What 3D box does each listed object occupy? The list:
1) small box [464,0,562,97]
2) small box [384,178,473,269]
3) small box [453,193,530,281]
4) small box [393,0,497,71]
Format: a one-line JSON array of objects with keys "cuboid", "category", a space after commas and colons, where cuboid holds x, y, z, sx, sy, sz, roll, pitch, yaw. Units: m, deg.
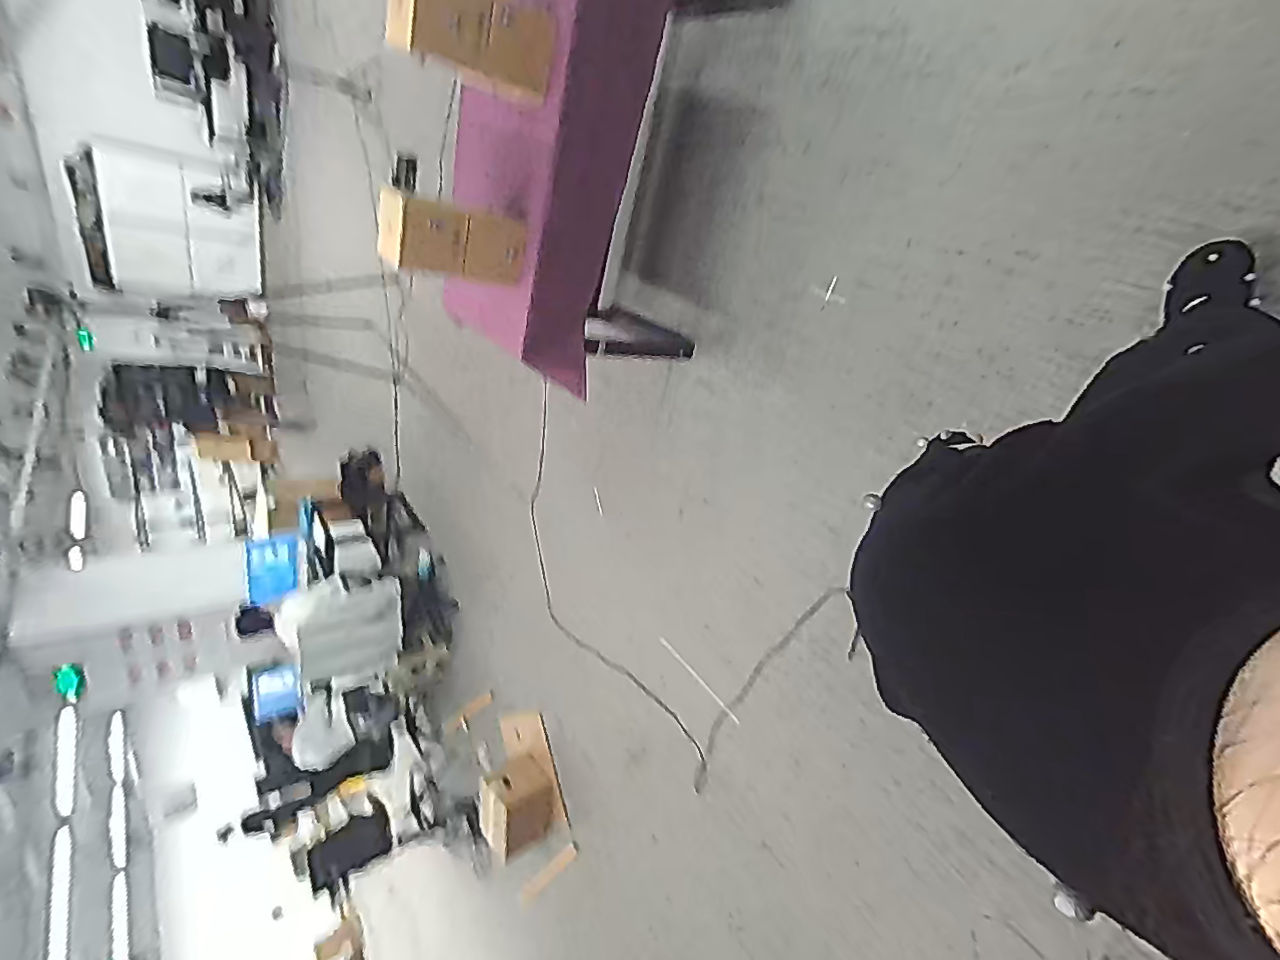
[{"cuboid": [-0.310, -1.069, 1.322, 0.168, 0.176, 0.179, 42, 125, 38], "category": "small box"}, {"cuboid": [-0.552, -0.664, 1.413, 0.179, 0.176, 0.168, 43, 126, 38], "category": "small box"}, {"cuboid": [-0.426, -0.677, 1.516, 0.168, 0.176, 0.179, 41, 124, 39], "category": "small box"}, {"cuboid": [-0.438, -1.055, 1.219, 0.179, 0.176, 0.168, 44, 126, 37], "category": "small box"}]
